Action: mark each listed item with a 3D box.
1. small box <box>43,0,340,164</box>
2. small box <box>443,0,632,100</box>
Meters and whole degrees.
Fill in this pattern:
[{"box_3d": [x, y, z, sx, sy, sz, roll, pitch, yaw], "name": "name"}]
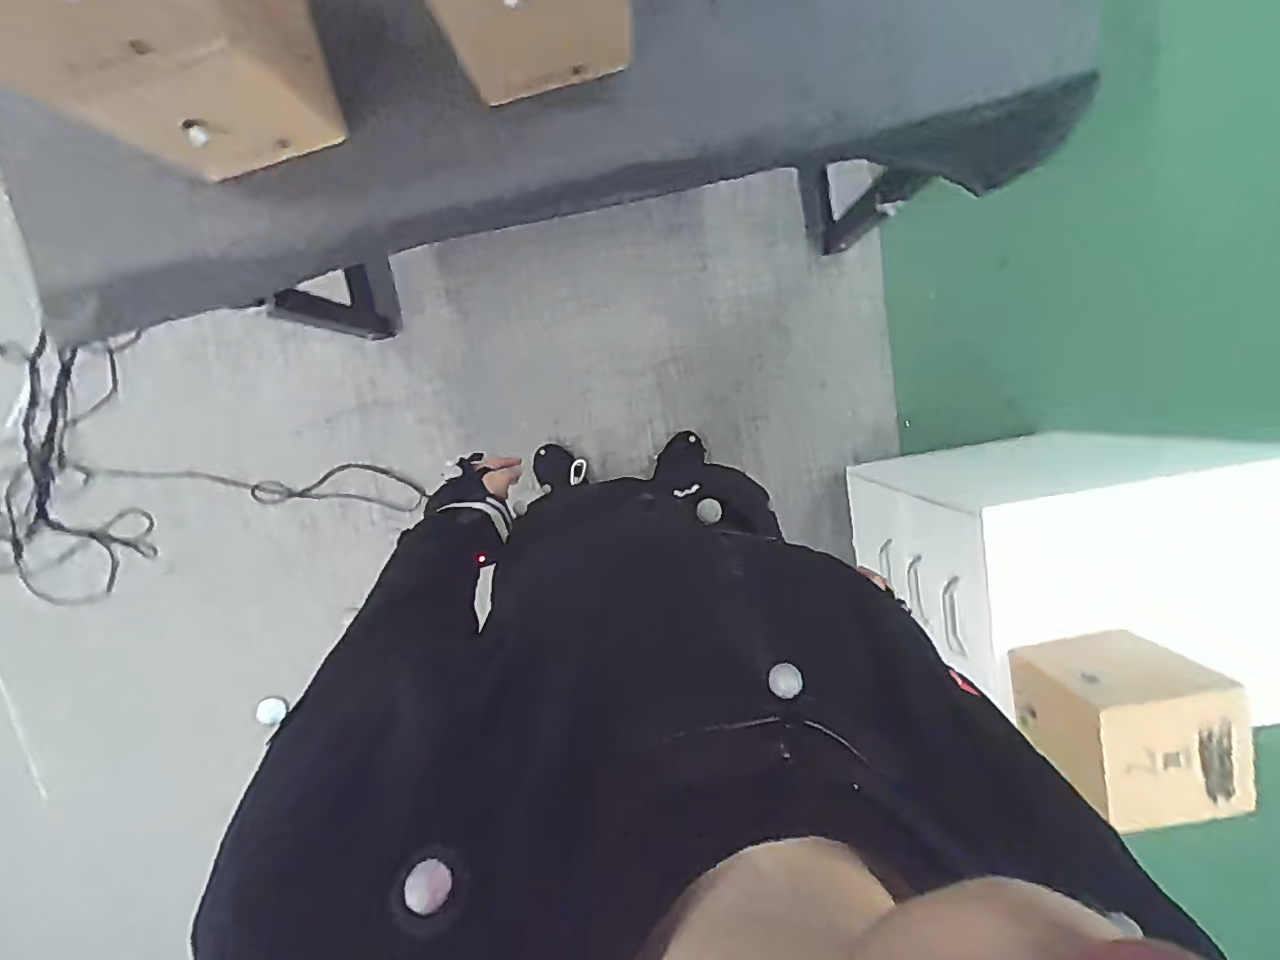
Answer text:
[{"box_3d": [-0.420, -0.427, 0.505, 0.168, 0.176, 0.179, -15, 97, 3], "name": "small box"}, {"box_3d": [-0.105, -0.498, 0.490, 0.168, 0.176, 0.179, -13, 96, 2], "name": "small box"}]
